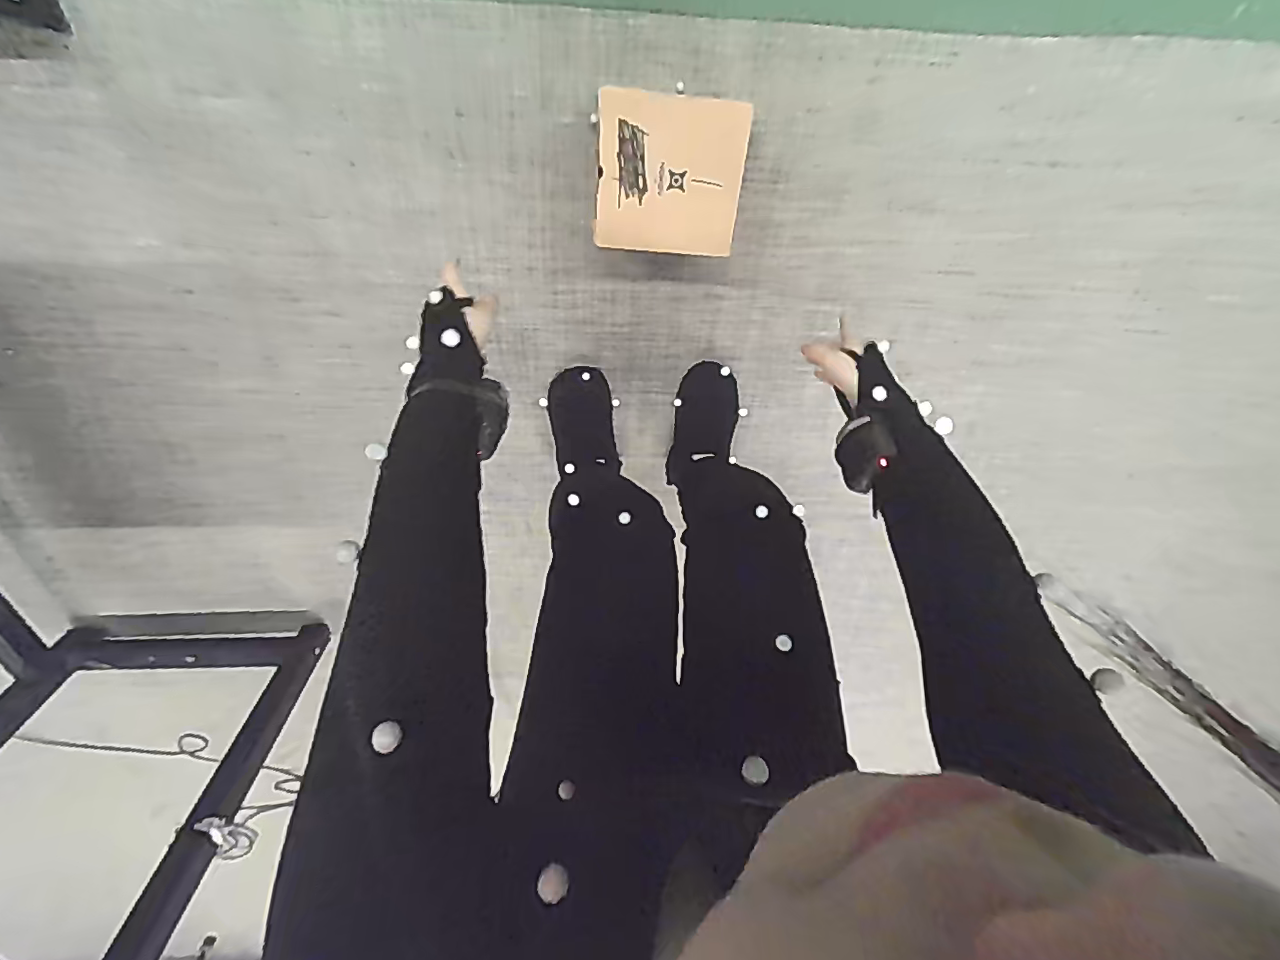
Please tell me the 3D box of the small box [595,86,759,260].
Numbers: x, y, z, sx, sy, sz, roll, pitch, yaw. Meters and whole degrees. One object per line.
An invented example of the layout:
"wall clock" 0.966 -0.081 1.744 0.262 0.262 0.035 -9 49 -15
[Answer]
"small box" 0.034 -0.393 0.696 0.179 0.176 0.168 2 124 -5
